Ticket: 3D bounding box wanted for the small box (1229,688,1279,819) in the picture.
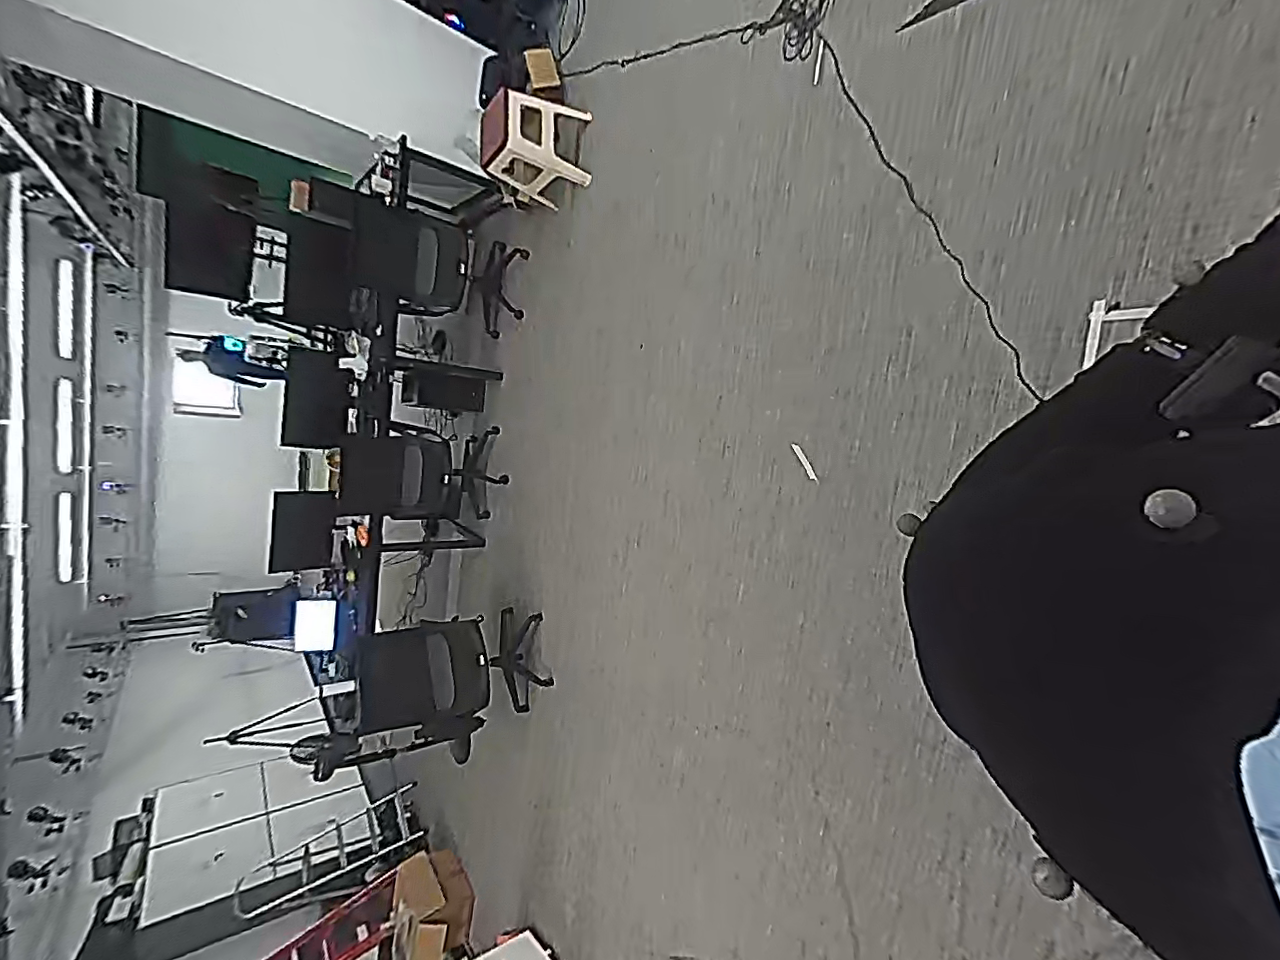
[{"bbox_3d":[1.131,0.474,0.906,0.168,0.176,0.179,13,99,51],"label":"small box"}]
